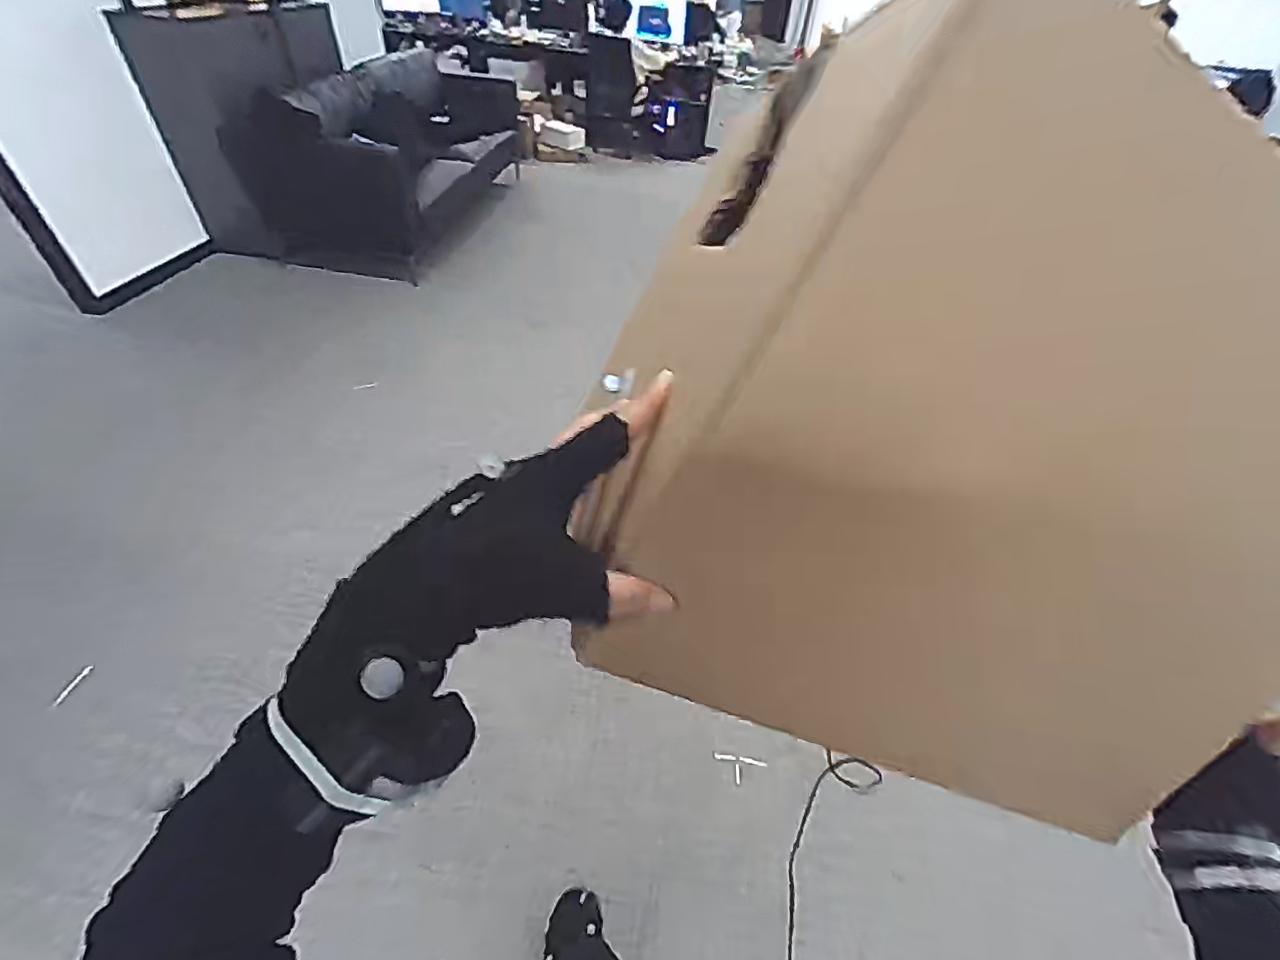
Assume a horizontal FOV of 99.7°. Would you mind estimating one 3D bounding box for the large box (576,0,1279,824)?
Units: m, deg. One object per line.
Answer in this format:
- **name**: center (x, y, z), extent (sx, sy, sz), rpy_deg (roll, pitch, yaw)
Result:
- **large box**: center (0.198, -0.018, 0.406), extent (0.408, 0.320, 0.320), rpy_deg (26, 20, -17)
